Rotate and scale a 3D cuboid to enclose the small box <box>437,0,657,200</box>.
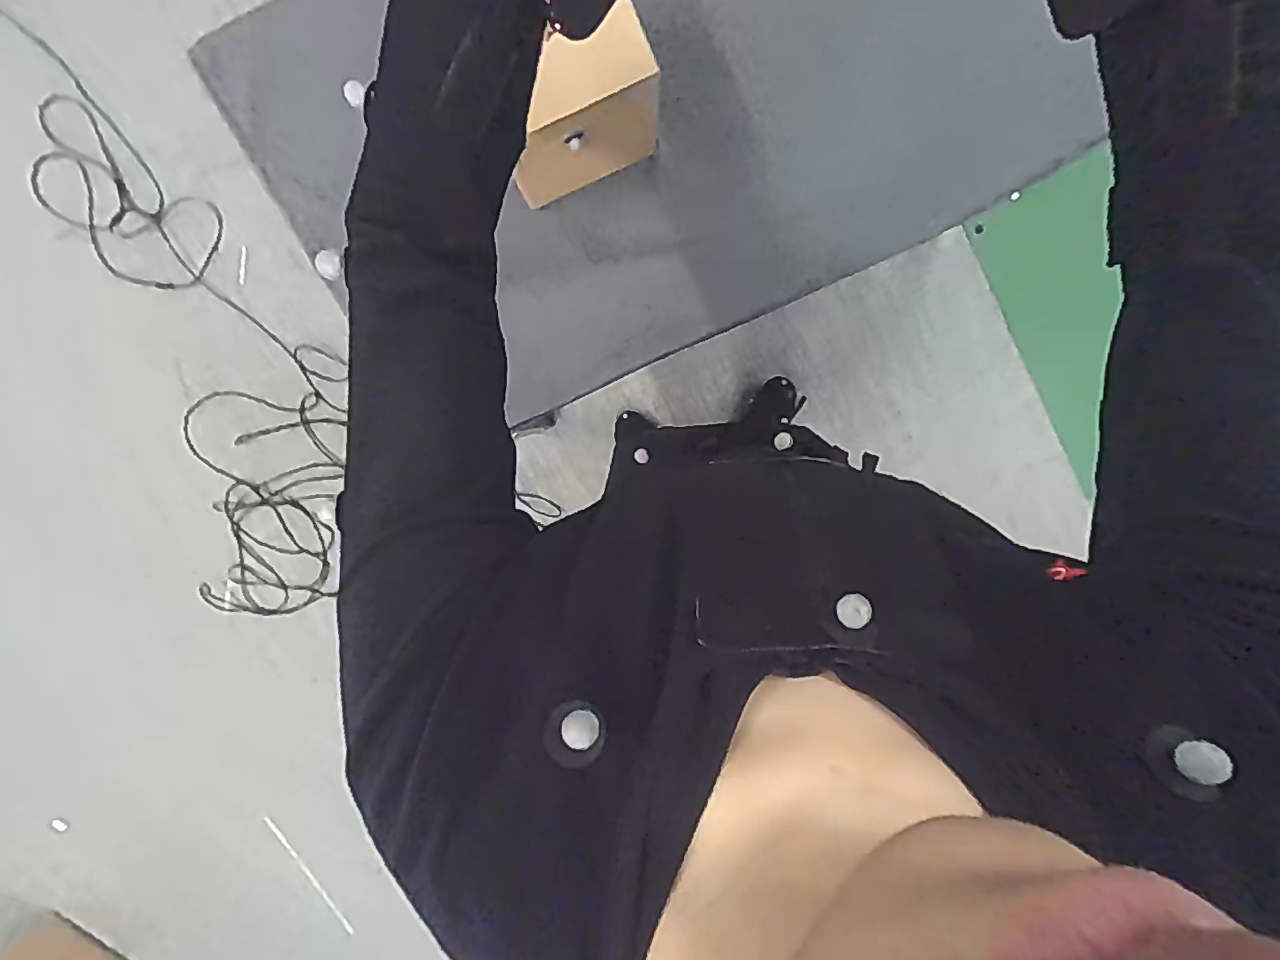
[{"bbox_3d":[-0.092,-0.454,0.609,0.179,0.176,0.168,-25,96,2],"label":"small box"}]
